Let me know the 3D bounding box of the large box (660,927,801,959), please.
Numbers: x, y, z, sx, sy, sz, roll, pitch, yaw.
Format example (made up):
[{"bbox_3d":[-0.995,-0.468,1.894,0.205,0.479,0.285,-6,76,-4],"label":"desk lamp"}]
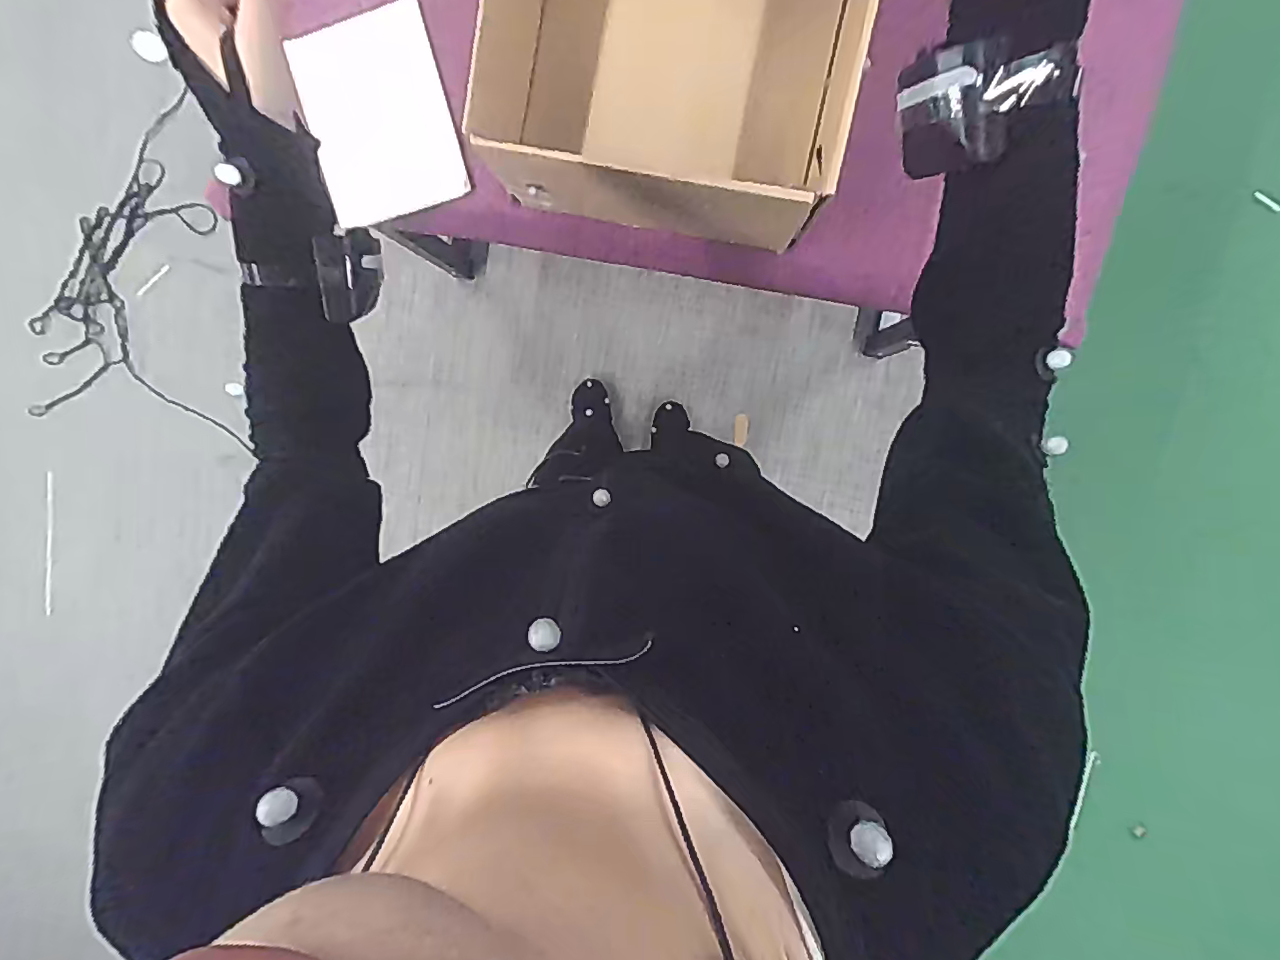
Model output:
[{"bbox_3d":[0.268,1.528,1.507,0.408,0.320,0.320,-4,97,4],"label":"large box"}]
